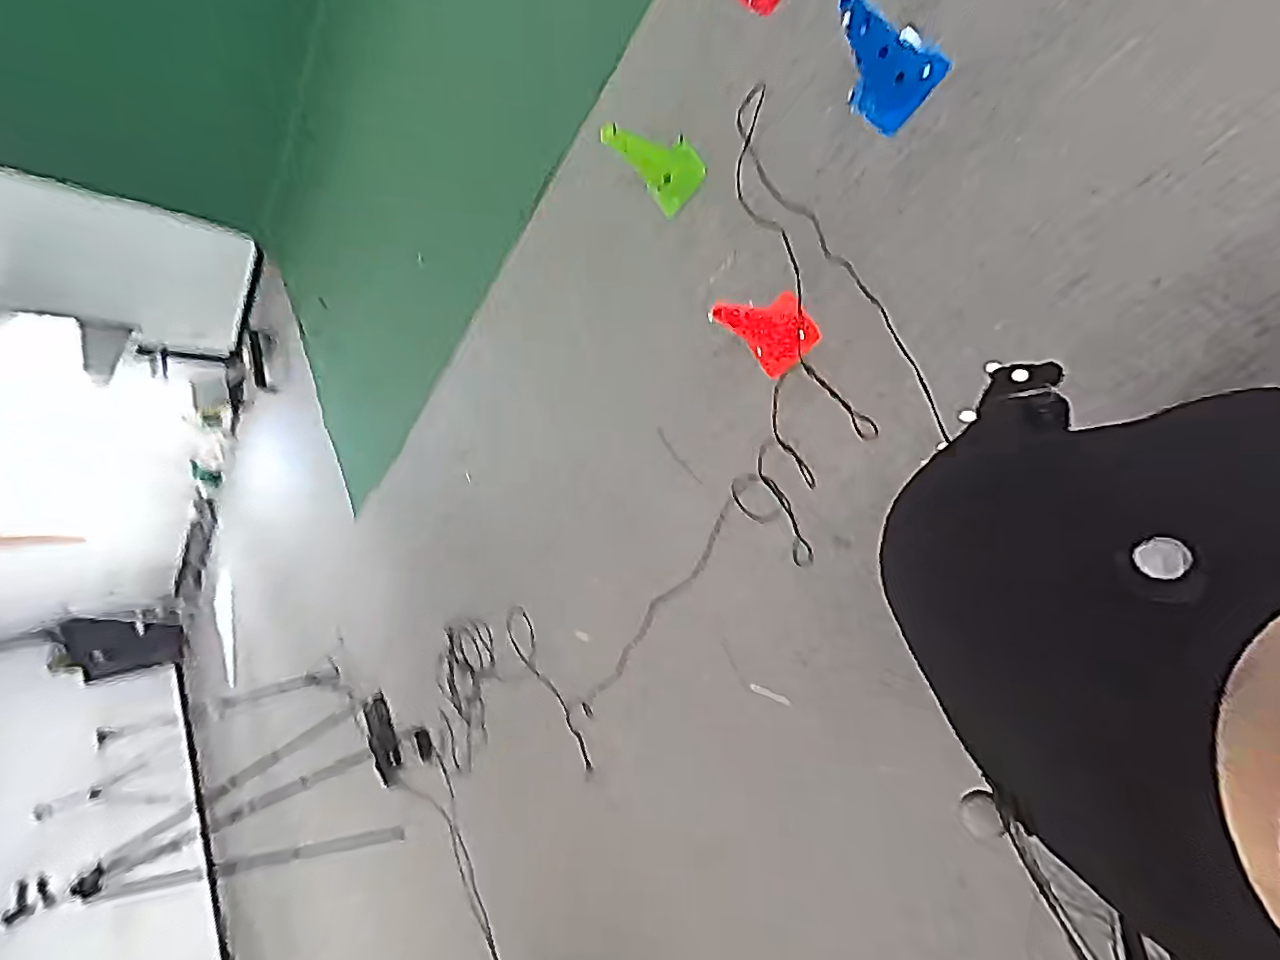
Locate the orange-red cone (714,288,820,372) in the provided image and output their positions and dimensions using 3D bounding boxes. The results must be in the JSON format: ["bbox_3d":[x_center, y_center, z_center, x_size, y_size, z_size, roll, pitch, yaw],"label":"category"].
[{"bbox_3d":[0.319,-0.455,1.524,0.198,0.360,0.199,-39,65,34],"label":"orange-red cone"}]

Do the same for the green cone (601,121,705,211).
[{"bbox_3d":[0.008,-1.071,1.767,0.200,0.368,0.202,-42,66,35],"label":"green cone"}]
